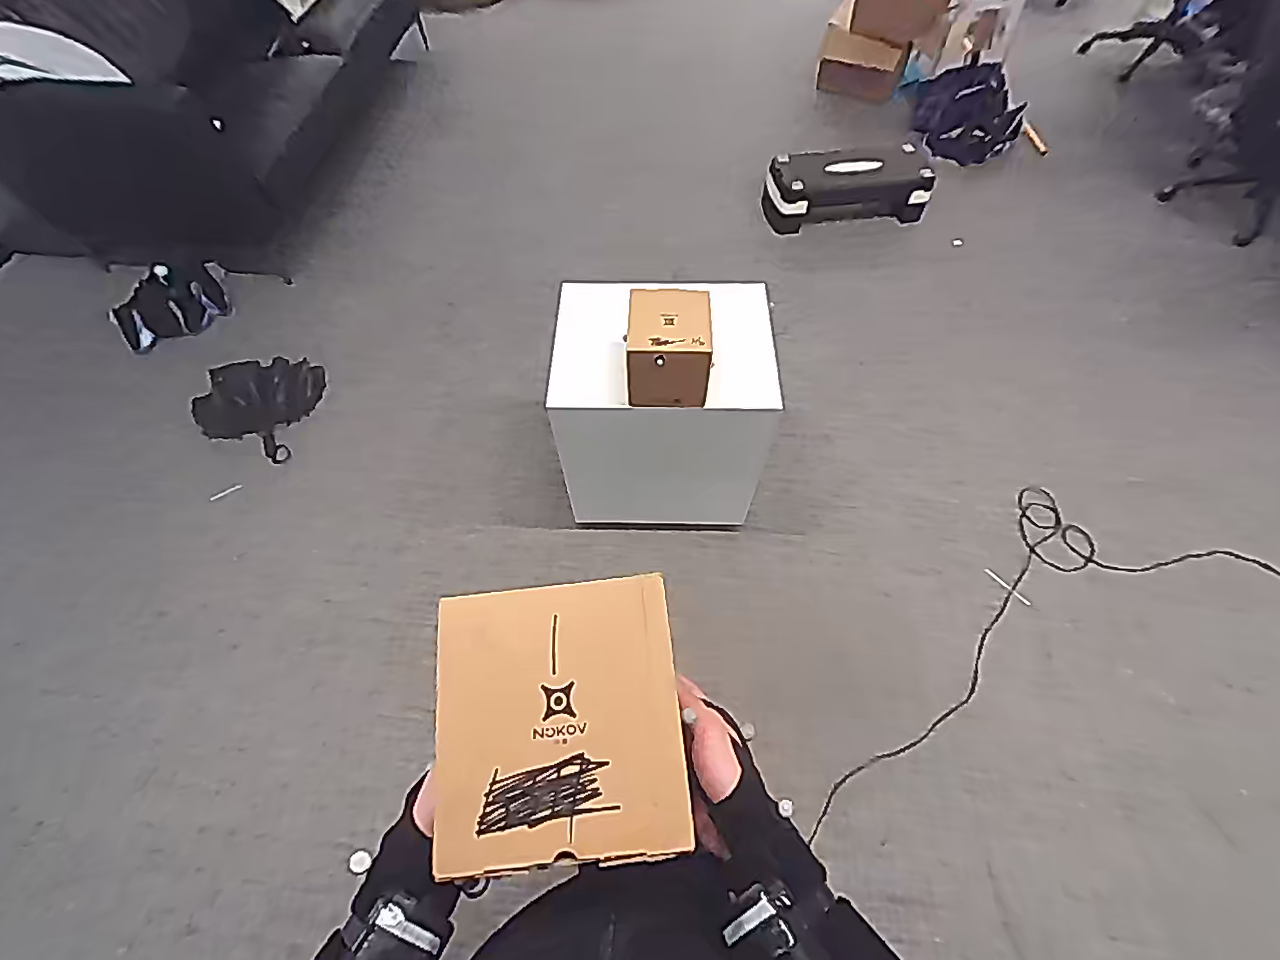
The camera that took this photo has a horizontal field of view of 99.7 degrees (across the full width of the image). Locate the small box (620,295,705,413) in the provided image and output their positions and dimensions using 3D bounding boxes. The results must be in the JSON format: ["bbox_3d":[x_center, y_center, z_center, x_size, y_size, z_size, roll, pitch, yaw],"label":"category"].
[{"bbox_3d":[0.044,-0.262,1.132,0.168,0.176,0.179,1,57,1],"label":"small box"}]
